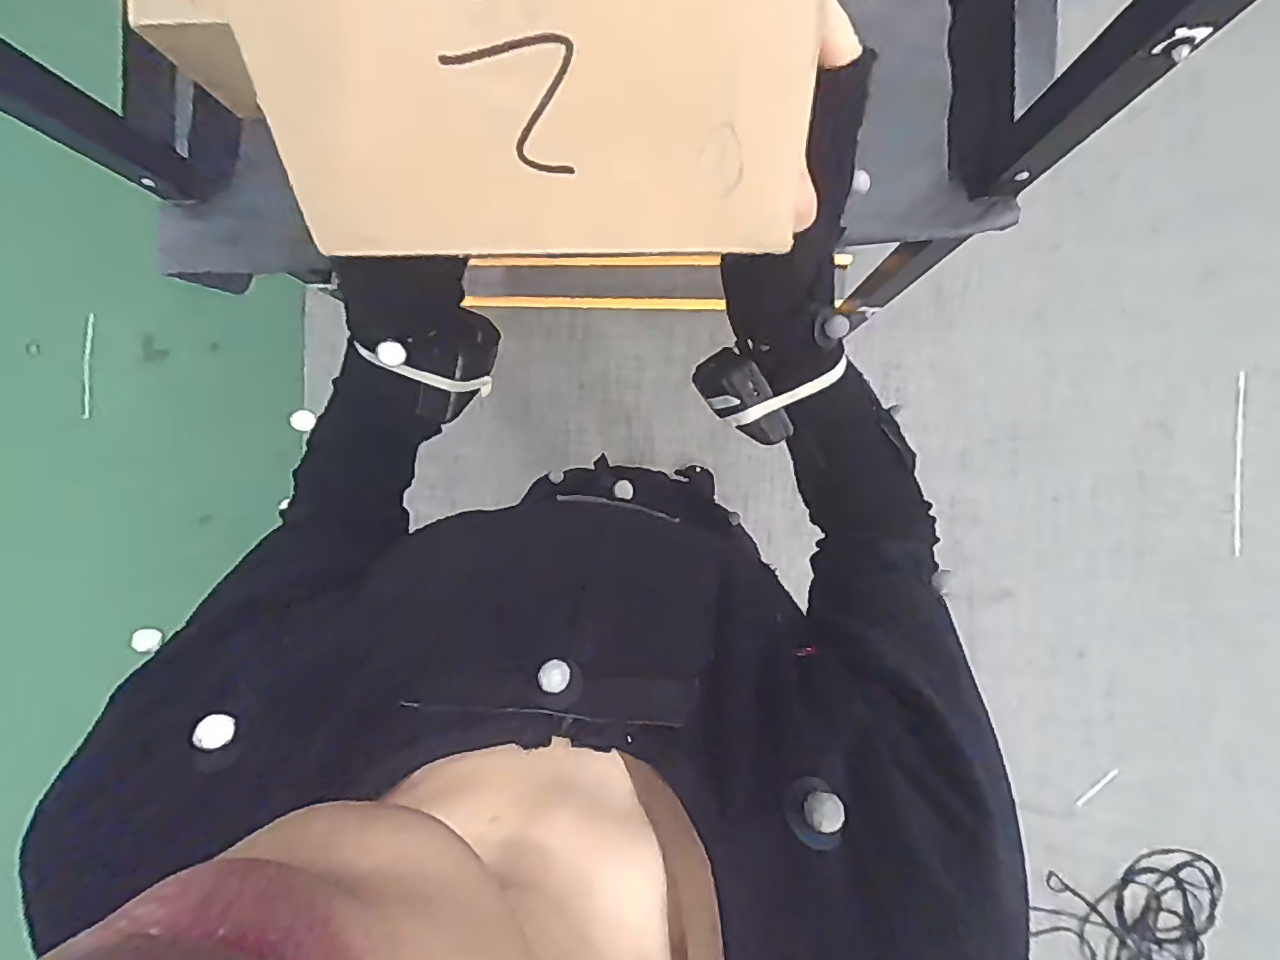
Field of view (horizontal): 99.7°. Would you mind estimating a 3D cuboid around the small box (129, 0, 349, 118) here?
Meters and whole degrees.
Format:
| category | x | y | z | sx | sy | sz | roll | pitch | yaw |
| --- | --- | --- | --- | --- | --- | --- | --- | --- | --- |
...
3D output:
| category | x | y | z | sx | sy | sz | roll | pitch | yaw |
| --- | --- | --- | --- | --- | --- | --- | --- | --- | --- |
| small box | -0.504 | -0.614 | 0.703 | 0.168 | 0.176 | 0.179 | 2 | 91 | 3 |
